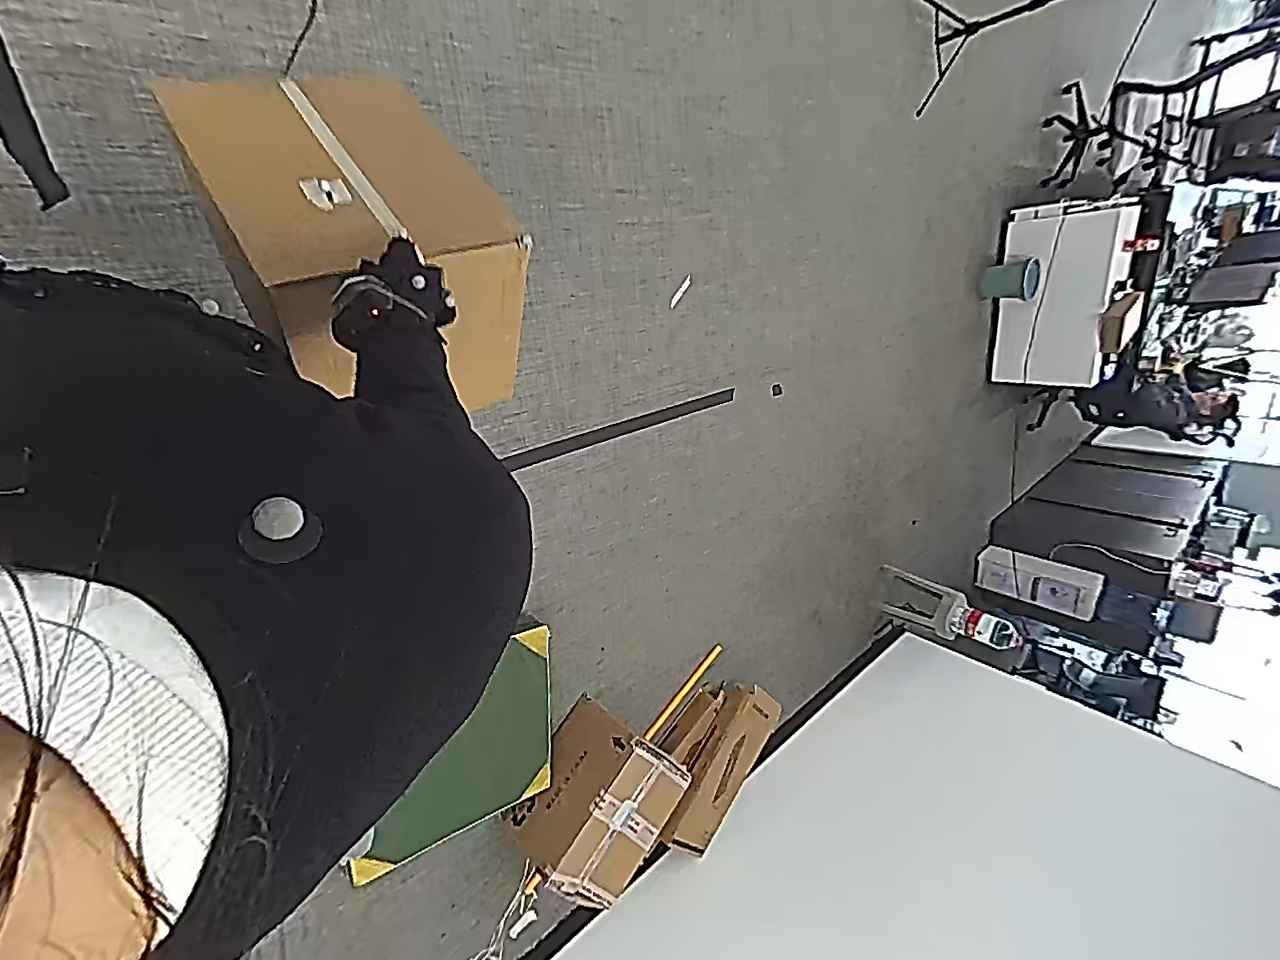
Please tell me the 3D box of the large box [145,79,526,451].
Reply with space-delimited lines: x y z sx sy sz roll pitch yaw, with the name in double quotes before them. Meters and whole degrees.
"large box" -0.425 -0.323 0.815 0.320 0.408 0.320 -29 162 -30
